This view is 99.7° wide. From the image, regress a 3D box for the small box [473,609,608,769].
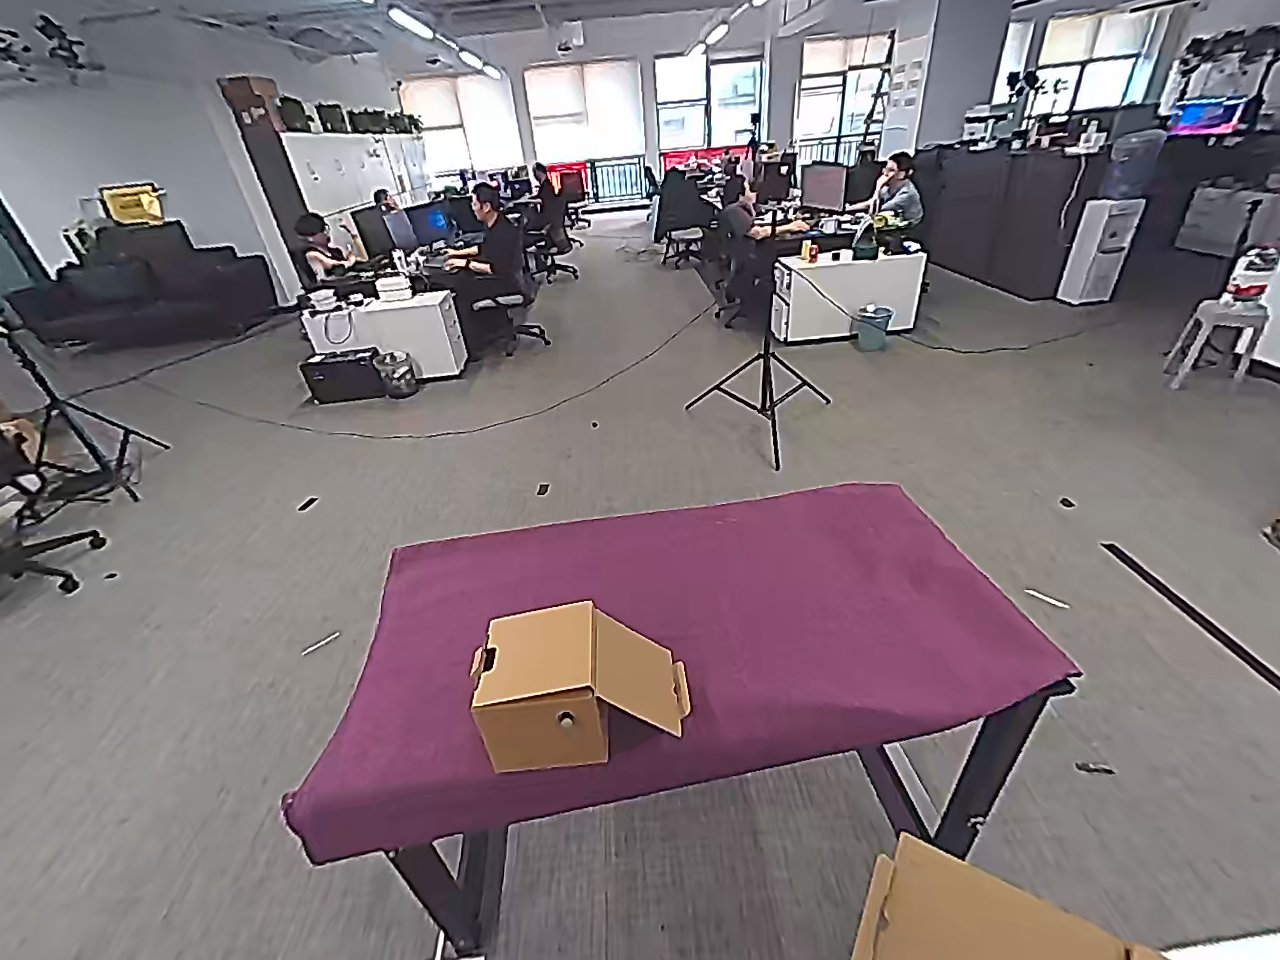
[{"bbox_3d":[-0.145,0.332,0.862,0.179,0.176,0.168,-6,32,0],"label":"small box"}]
